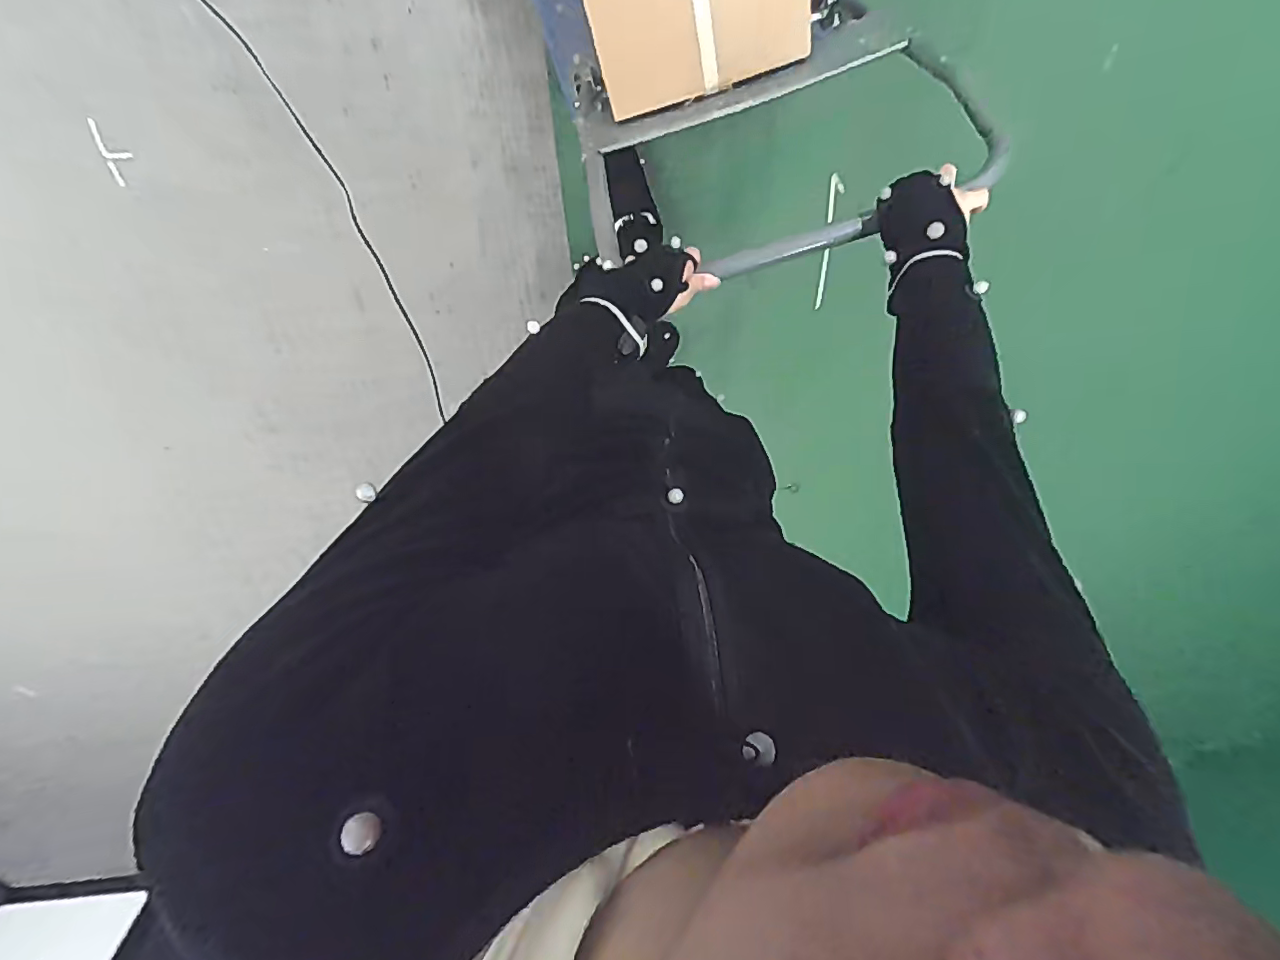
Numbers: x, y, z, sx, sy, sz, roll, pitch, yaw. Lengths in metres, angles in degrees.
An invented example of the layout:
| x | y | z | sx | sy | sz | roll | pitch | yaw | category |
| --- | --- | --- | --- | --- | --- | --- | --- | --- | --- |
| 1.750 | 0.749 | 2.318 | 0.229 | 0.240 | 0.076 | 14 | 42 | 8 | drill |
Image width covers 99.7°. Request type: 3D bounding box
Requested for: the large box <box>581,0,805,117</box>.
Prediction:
| x | y | z | sx | sy | sz | roll | pitch | yaw | category |
| --- | --- | --- | --- | --- | --- | --- | --- | --- | --- |
| 0.042 | -0.857 | 0.814 | 0.320 | 0.320 | 0.408 | -14 | 137 | 8 | large box |
